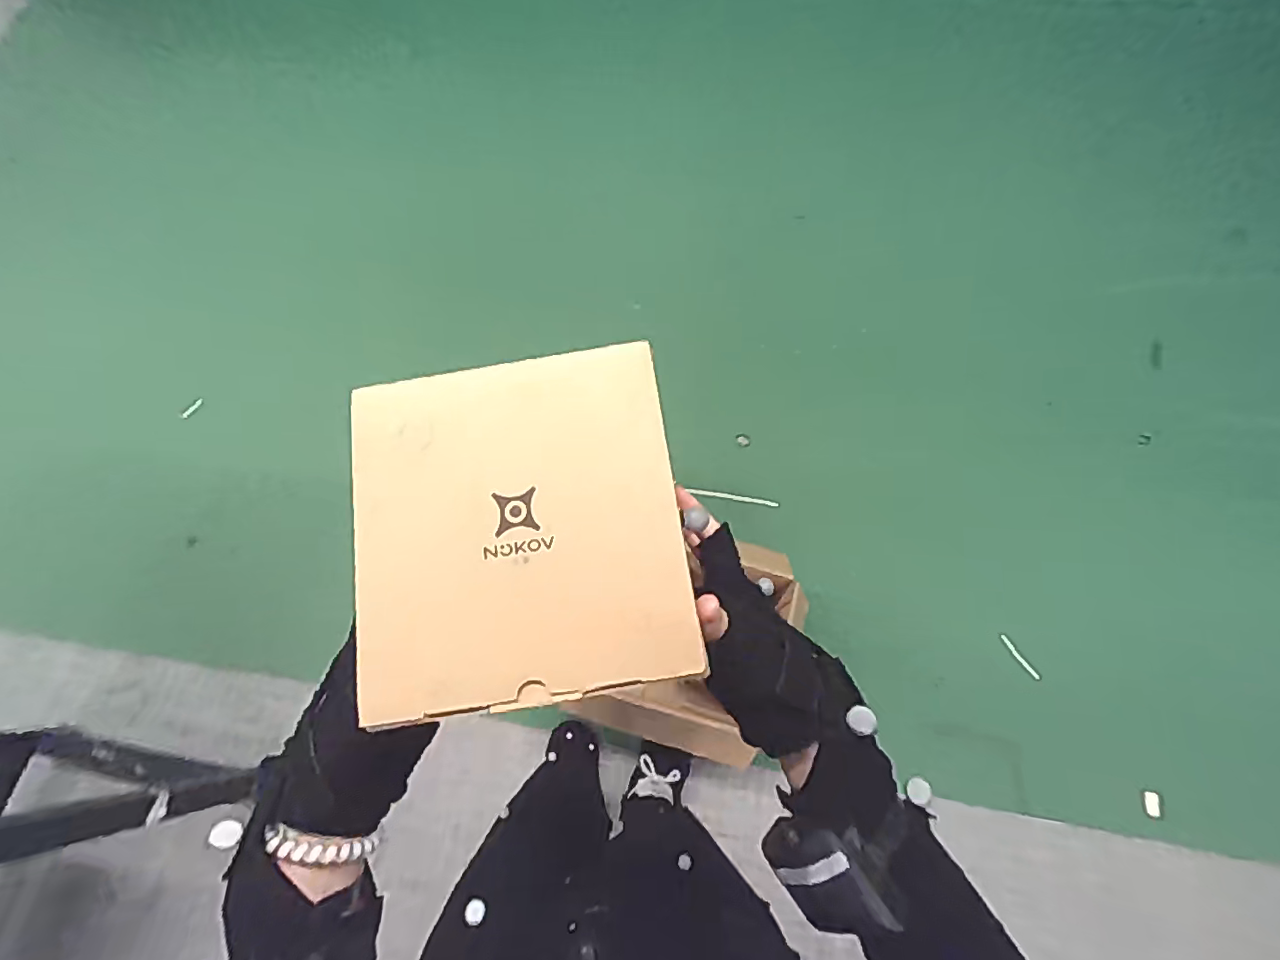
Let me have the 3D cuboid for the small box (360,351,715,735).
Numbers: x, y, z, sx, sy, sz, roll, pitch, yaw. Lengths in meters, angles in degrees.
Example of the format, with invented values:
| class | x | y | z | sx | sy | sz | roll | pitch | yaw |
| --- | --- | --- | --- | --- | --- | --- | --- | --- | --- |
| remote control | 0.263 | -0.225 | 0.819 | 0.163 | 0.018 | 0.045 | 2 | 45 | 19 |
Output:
| class | x | y | z | sx | sy | sz | roll | pitch | yaw |
| --- | --- | --- | --- | --- | --- | --- | --- | --- | --- |
| small box | -0.056 | 0.043 | 0.349 | 0.168 | 0.176 | 0.179 | -10 | 77 | 0 |
